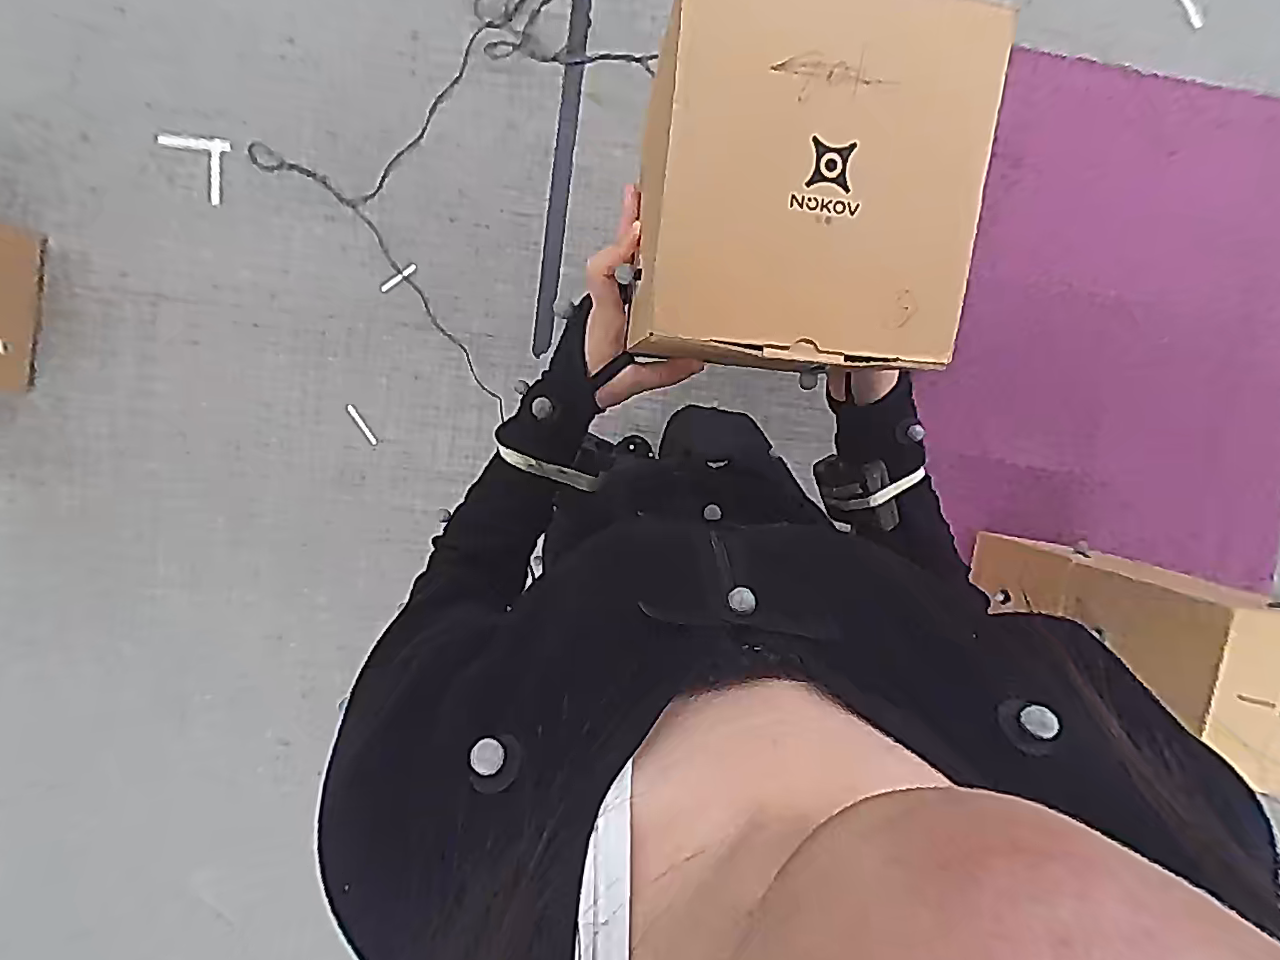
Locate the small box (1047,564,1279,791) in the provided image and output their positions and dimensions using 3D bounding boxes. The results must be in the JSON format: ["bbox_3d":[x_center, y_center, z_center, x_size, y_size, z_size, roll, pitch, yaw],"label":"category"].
[{"bbox_3d":[0.587,0.194,0.566,0.179,0.176,0.168,10,95,-4],"label":"small box"}]

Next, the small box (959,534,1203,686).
[{"bbox_3d":[0.573,0.175,0.728,0.179,0.176,0.168,10,95,-5],"label":"small box"}]

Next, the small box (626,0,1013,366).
[{"bbox_3d":[0.083,-0.167,0.341,0.168,0.176,0.179,3,99,-8],"label":"small box"}]
